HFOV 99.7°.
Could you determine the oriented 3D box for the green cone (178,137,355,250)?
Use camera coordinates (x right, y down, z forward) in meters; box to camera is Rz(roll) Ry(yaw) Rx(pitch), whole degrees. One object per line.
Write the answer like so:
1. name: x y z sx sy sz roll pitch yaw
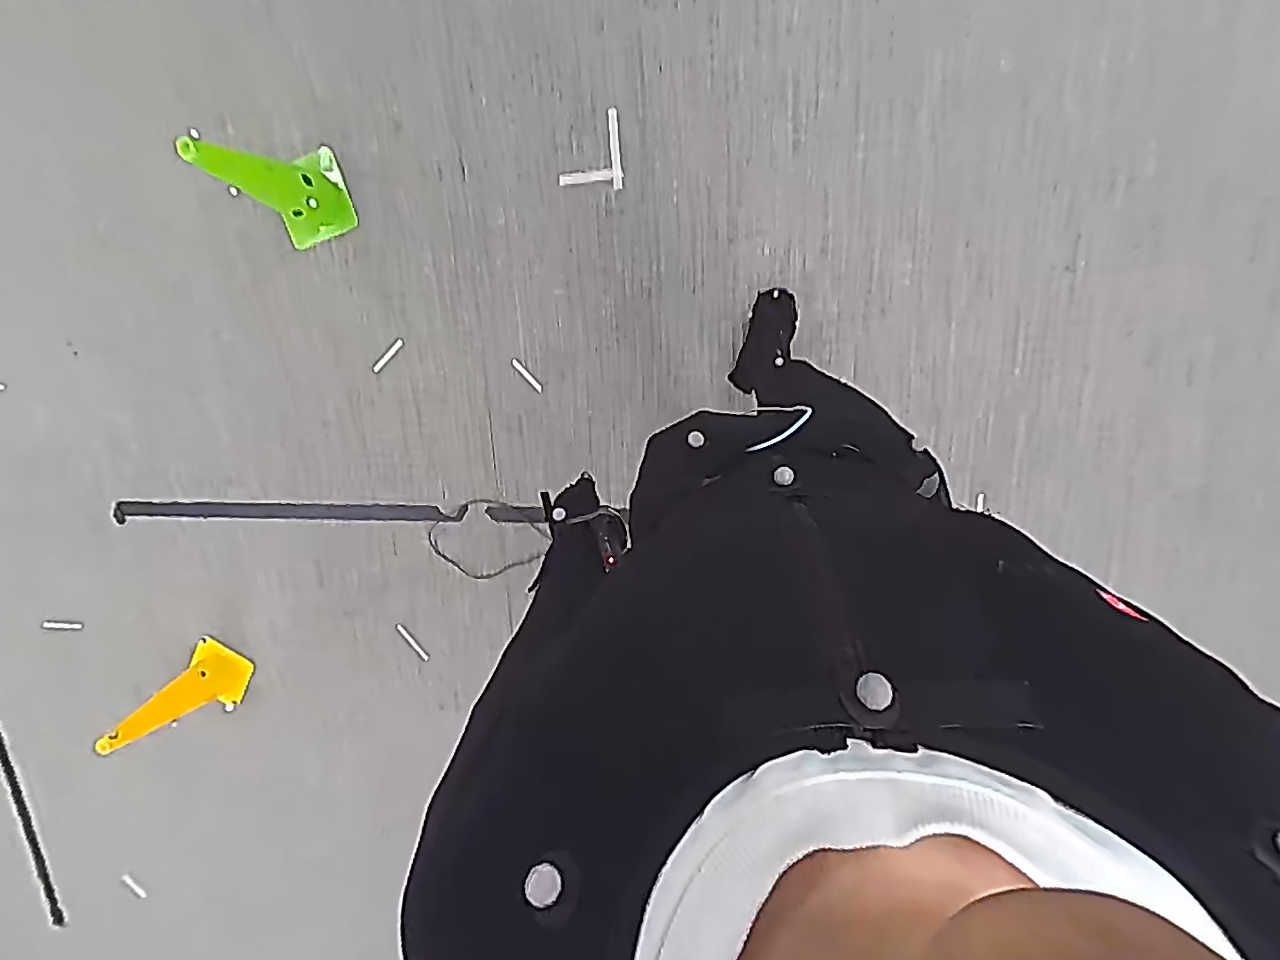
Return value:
1. green cone: -0.877 -0.686 1.240 0.202 0.368 0.200 -16 100 10
